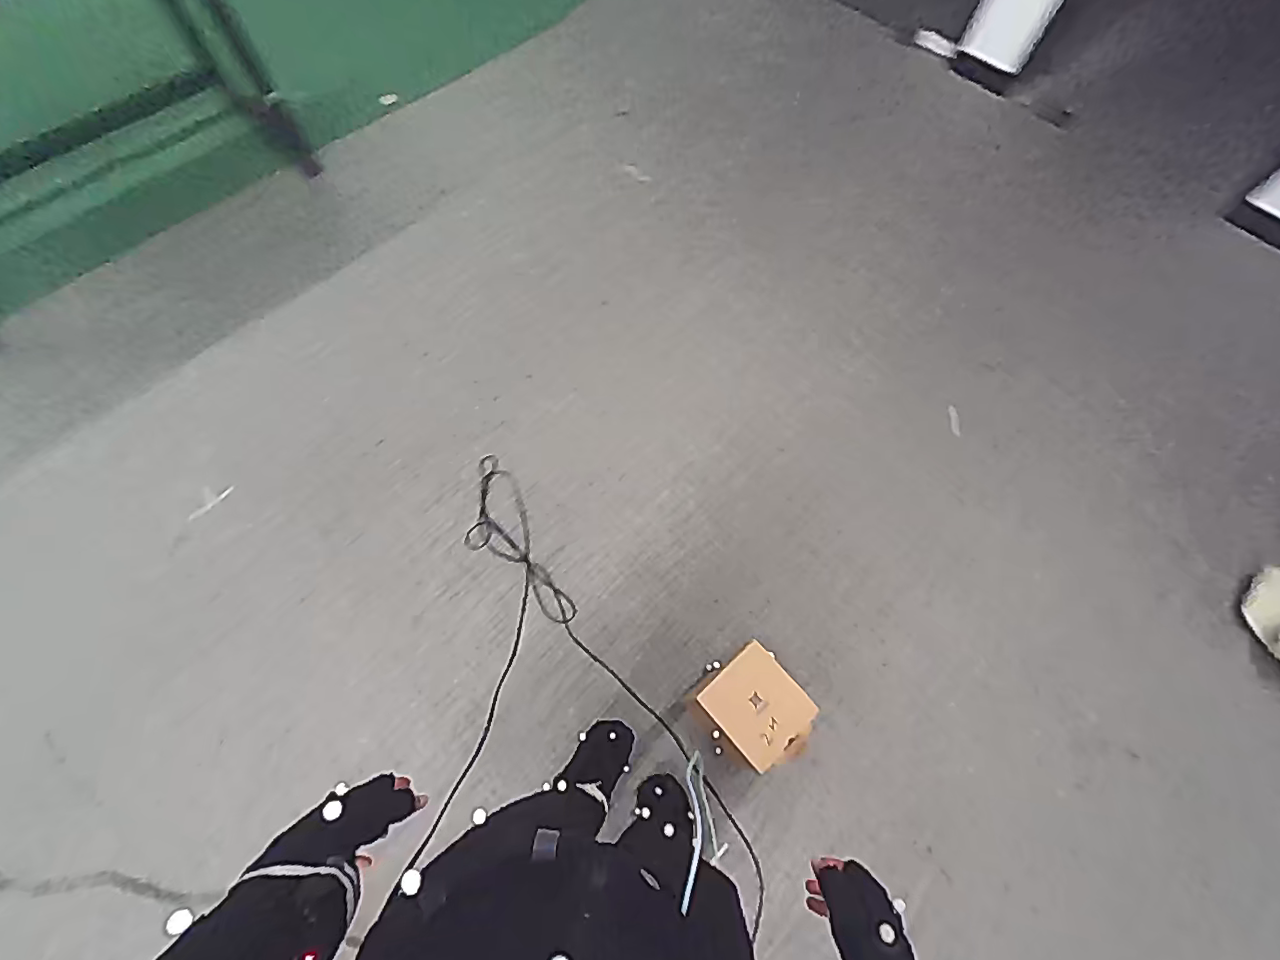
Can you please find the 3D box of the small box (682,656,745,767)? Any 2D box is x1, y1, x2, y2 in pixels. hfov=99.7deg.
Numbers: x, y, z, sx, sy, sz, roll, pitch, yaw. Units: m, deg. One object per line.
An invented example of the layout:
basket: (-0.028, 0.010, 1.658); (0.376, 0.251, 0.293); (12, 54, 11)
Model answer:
small box: (0.214, 0.510, 1.224); (0.168, 0.176, 0.179); (-36, 73, -16)

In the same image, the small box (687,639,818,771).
small box: (0.214, 0.450, 1.088); (0.168, 0.176, 0.179); (-38, 74, -17)
